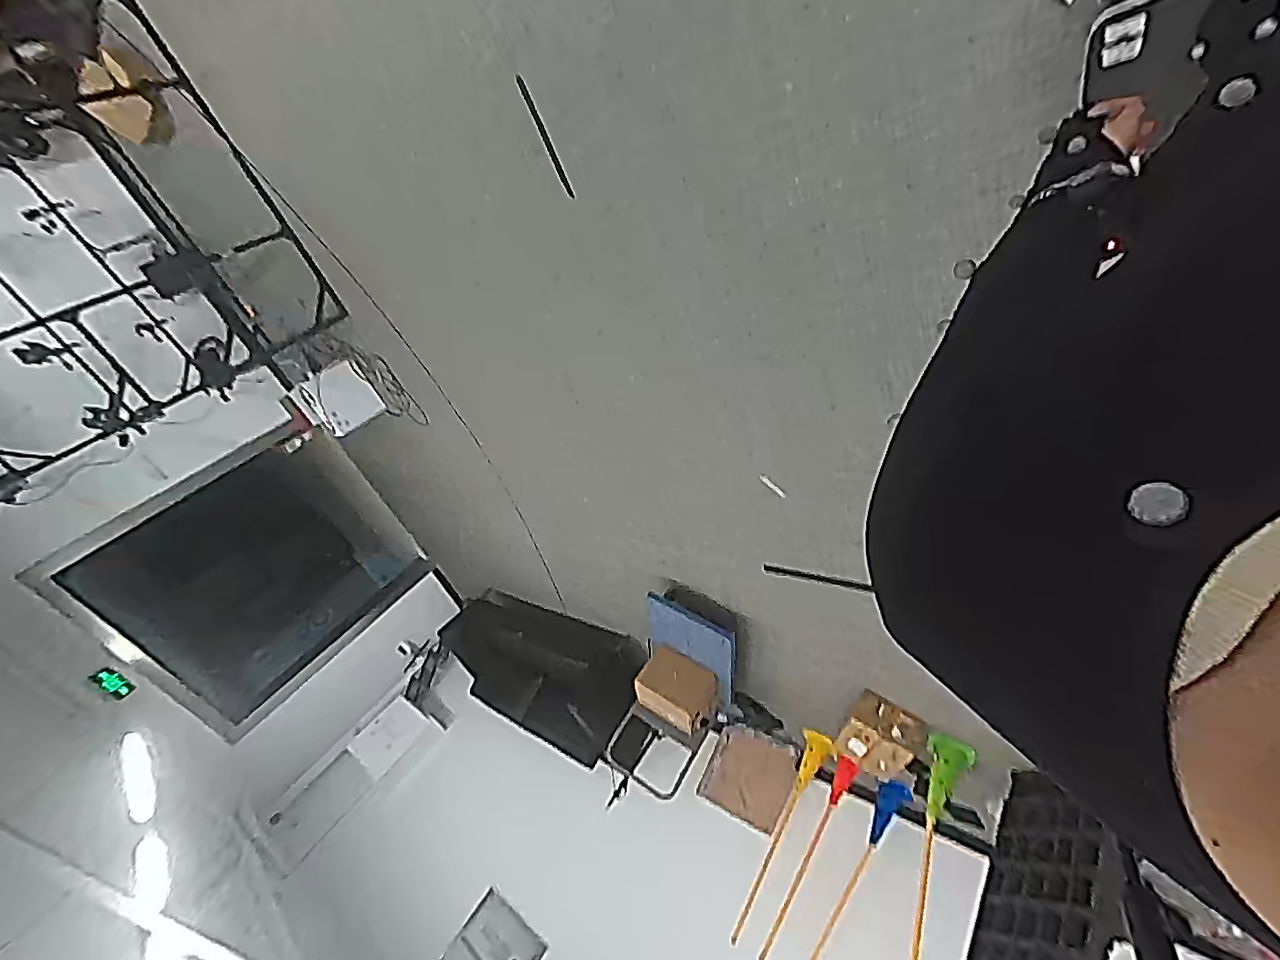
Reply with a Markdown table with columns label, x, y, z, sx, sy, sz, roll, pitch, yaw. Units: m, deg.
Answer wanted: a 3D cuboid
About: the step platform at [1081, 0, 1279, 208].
| label | x | y | z | sx | sy | sz | roll | pitch | yaw |
| --- | --- | --- | --- | --- | --- | --- | --- | --- | --- |
| step platform | 1.079 | -0.620 | 0.783 | 0.684 | 0.204 | 0.286 | 10 | 132 | 43 |
